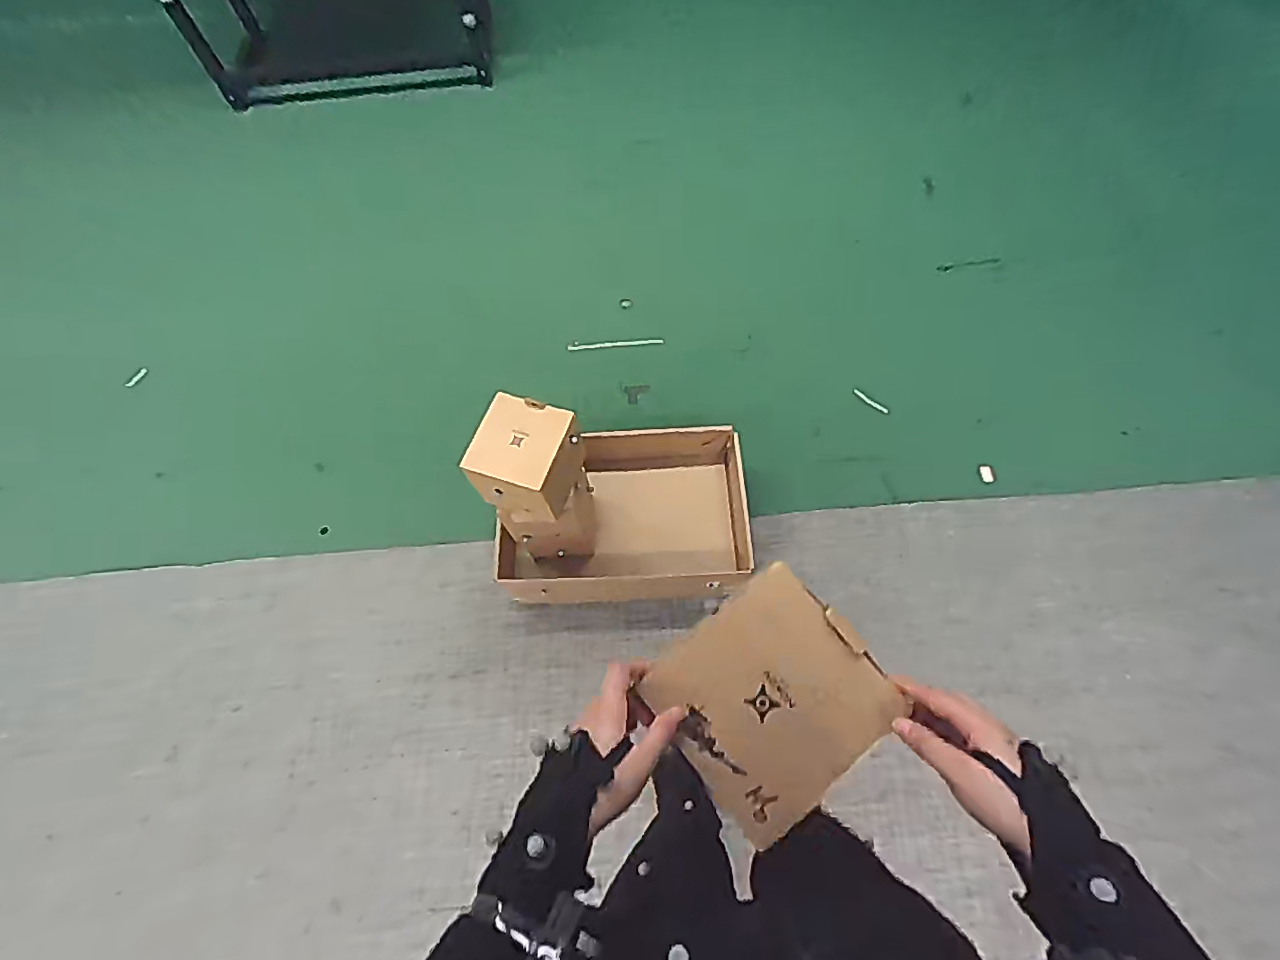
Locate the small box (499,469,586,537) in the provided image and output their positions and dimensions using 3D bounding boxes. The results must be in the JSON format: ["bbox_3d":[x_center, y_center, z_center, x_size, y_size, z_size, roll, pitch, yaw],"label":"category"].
[{"bbox_3d":[-0.214,0.025,1.230,0.168,0.176,0.179,-3,64,0],"label":"small box"}]

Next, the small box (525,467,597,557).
[{"bbox_3d":[-0.202,0.086,1.382,0.168,0.176,0.179,-5,64,0],"label":"small box"}]

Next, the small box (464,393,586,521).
[{"bbox_3d":[-0.217,-0.039,1.080,0.168,0.176,0.179,16,65,10],"label":"small box"}]
